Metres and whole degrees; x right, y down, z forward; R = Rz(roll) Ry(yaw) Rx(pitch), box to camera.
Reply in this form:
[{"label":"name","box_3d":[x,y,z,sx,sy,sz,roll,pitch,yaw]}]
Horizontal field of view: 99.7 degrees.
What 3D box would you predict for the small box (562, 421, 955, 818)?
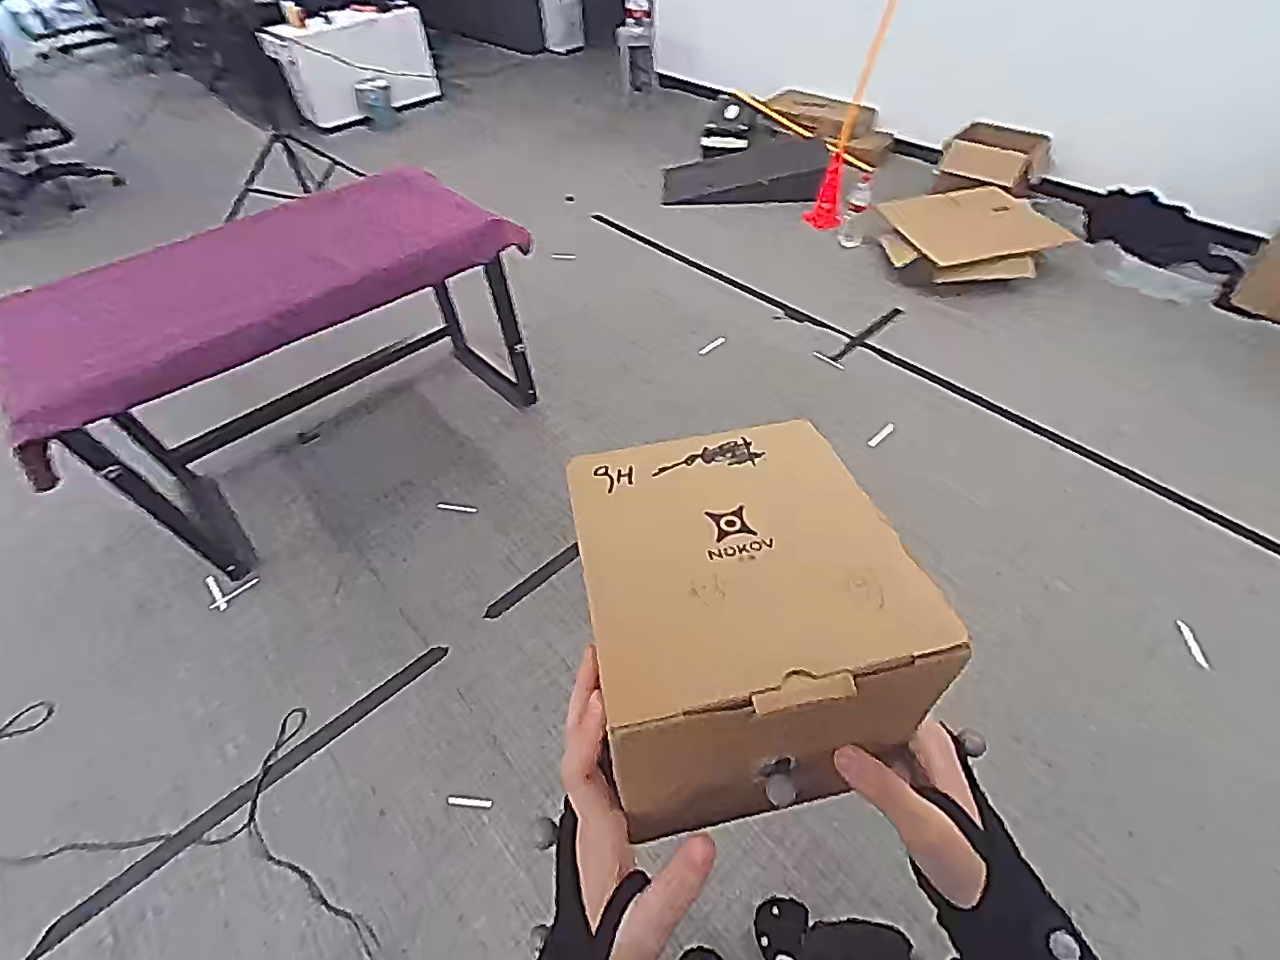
[{"label":"small box","box_3d":[0.051,0.091,0.347,0.168,0.176,0.179,-10,44,-7]}]
